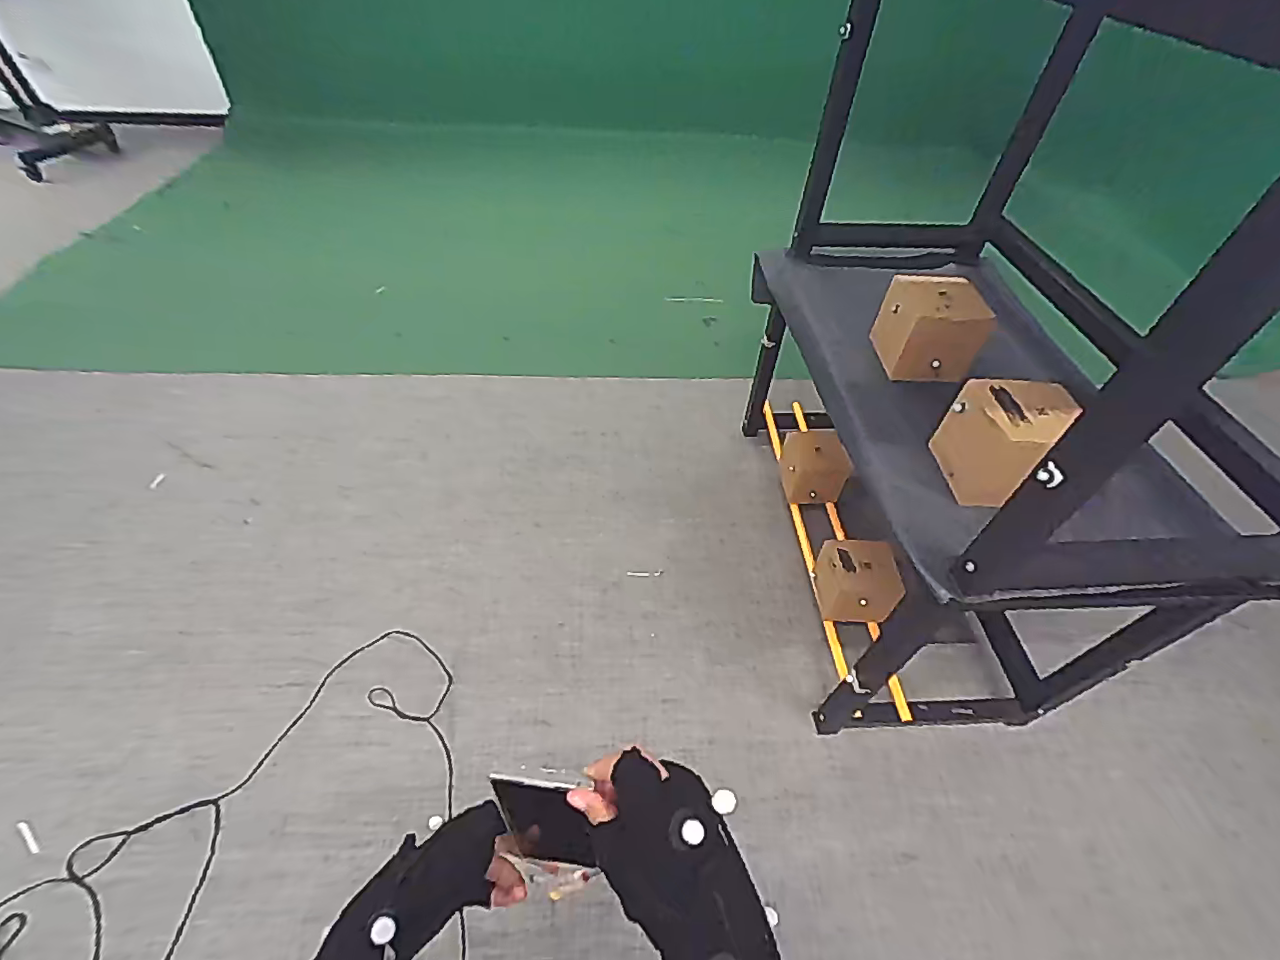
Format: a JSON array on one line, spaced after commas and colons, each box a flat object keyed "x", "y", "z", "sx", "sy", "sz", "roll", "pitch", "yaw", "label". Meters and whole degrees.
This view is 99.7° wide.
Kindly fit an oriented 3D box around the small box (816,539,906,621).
[{"x": 0.600, "y": 0.281, "z": 1.502, "sx": 0.179, "sy": 0.176, "sz": 0.168, "roll": 2, "pitch": 49, "yaw": -1, "label": "small box"}]

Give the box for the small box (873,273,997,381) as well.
[{"x": 0.656, "y": -0.348, "z": 1.230, "sx": 0.168, "sy": 0.176, "sz": 0.179, "roll": 2, "pitch": 48, "yaw": -1, "label": "small box"}]
